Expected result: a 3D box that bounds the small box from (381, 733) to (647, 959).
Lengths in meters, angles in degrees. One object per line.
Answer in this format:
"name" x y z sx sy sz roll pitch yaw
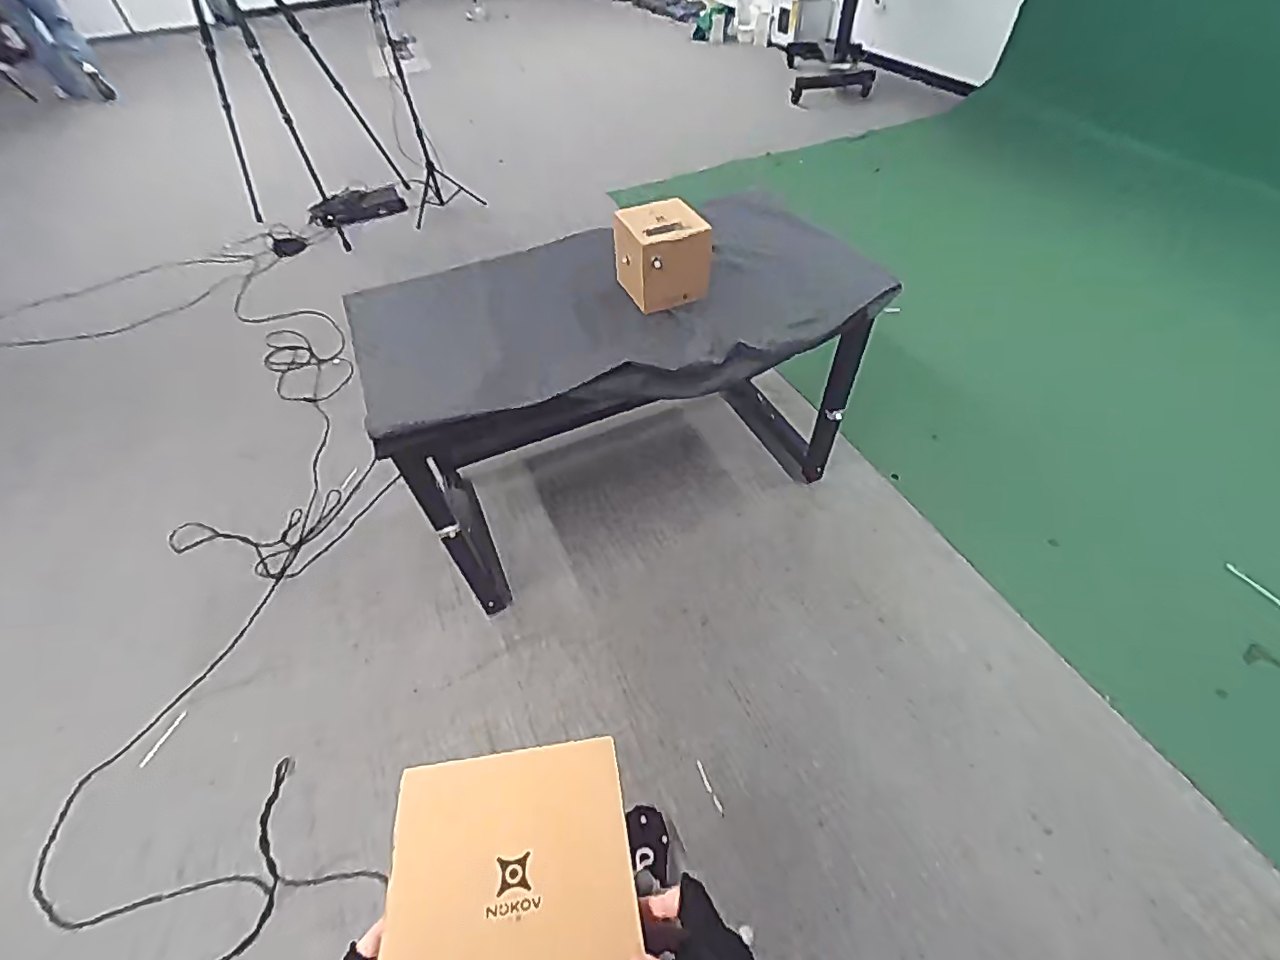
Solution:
"small box" -0.094 0.330 0.423 0.168 0.176 0.179 -3 43 -12
